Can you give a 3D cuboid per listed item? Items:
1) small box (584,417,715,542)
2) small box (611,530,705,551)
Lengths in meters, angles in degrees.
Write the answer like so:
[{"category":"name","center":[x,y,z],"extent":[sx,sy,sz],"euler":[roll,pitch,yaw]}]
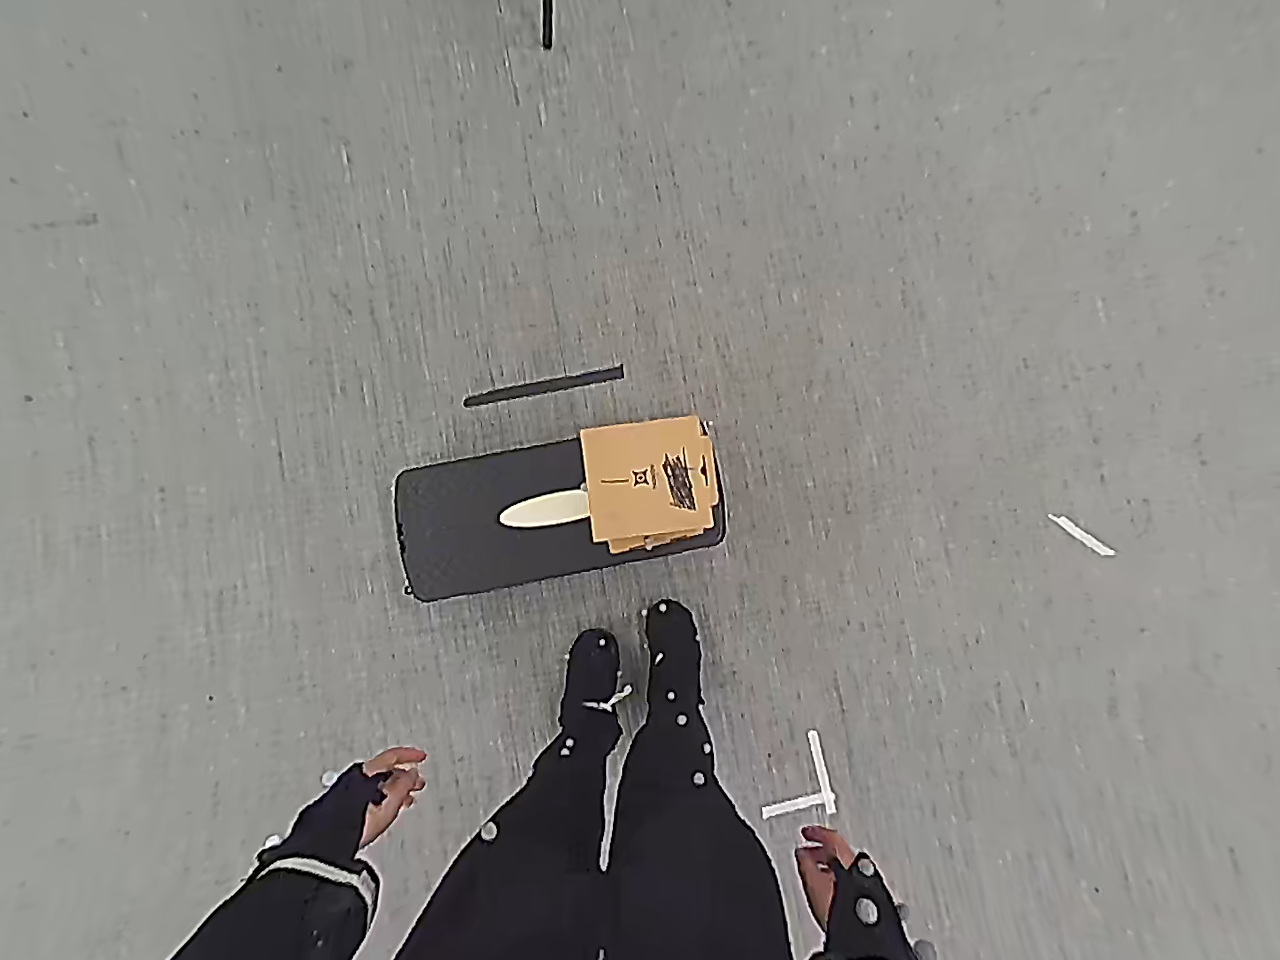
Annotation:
[{"category":"small box","center":[0.011,0.003,0.853],"extent":[0.179,0.176,0.168],"euler":[-7,86,-2]},{"category":"small box","center":[0.013,0.031,1.016],"extent":[0.168,0.176,0.179],"euler":[-12,86,-3]}]
